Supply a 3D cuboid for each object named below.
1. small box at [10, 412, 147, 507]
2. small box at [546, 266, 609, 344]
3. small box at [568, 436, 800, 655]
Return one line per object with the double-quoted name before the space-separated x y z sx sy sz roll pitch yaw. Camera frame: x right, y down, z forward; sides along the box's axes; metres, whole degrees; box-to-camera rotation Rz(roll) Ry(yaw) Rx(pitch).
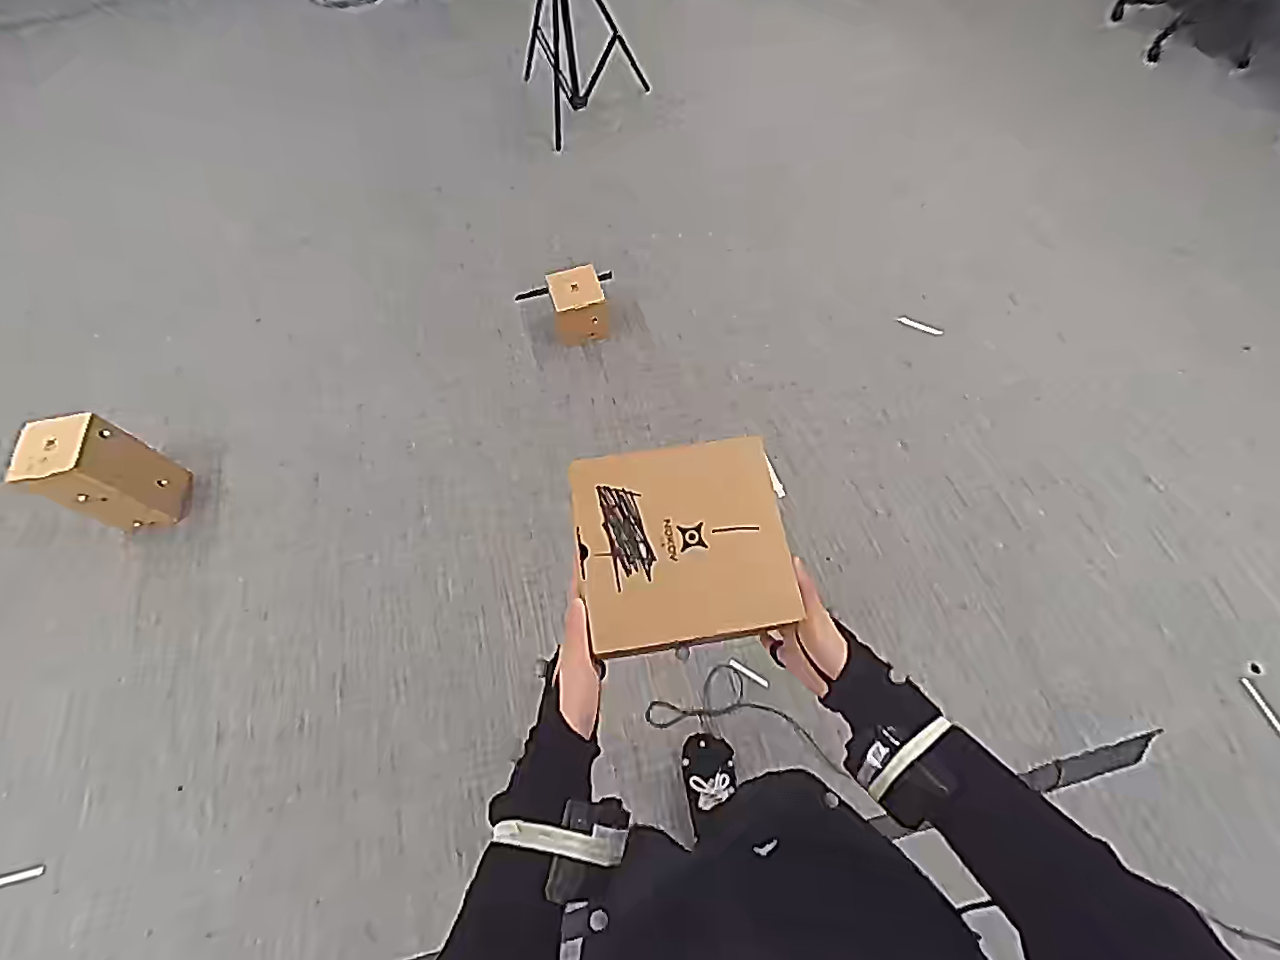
"small box" -1.461 -0.052 1.424 0.168 0.176 0.179 -11 64 -3
"small box" -0.208 -0.586 1.838 0.168 0.176 0.179 -16 63 -7
"small box" 0.032 0.074 0.530 0.179 0.176 0.168 -8 71 -4
